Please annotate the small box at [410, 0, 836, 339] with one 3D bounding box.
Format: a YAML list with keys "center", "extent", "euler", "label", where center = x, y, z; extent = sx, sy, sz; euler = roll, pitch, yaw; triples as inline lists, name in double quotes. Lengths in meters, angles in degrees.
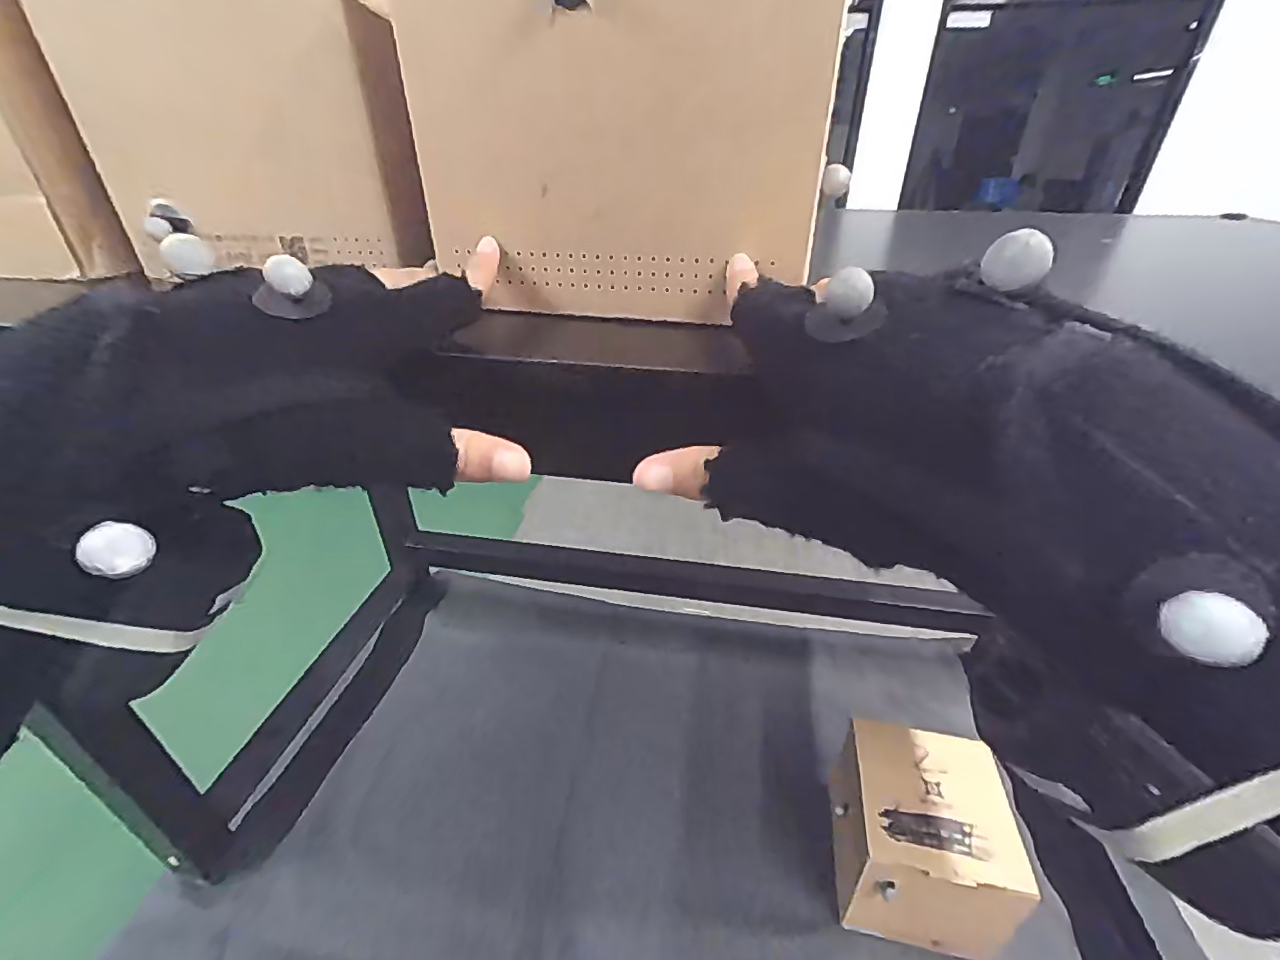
- center: [0.002, -0.180, 0.286]
  extent: [0.179, 0.176, 0.168]
  euler: [8, 33, 12]
  label: "small box"
